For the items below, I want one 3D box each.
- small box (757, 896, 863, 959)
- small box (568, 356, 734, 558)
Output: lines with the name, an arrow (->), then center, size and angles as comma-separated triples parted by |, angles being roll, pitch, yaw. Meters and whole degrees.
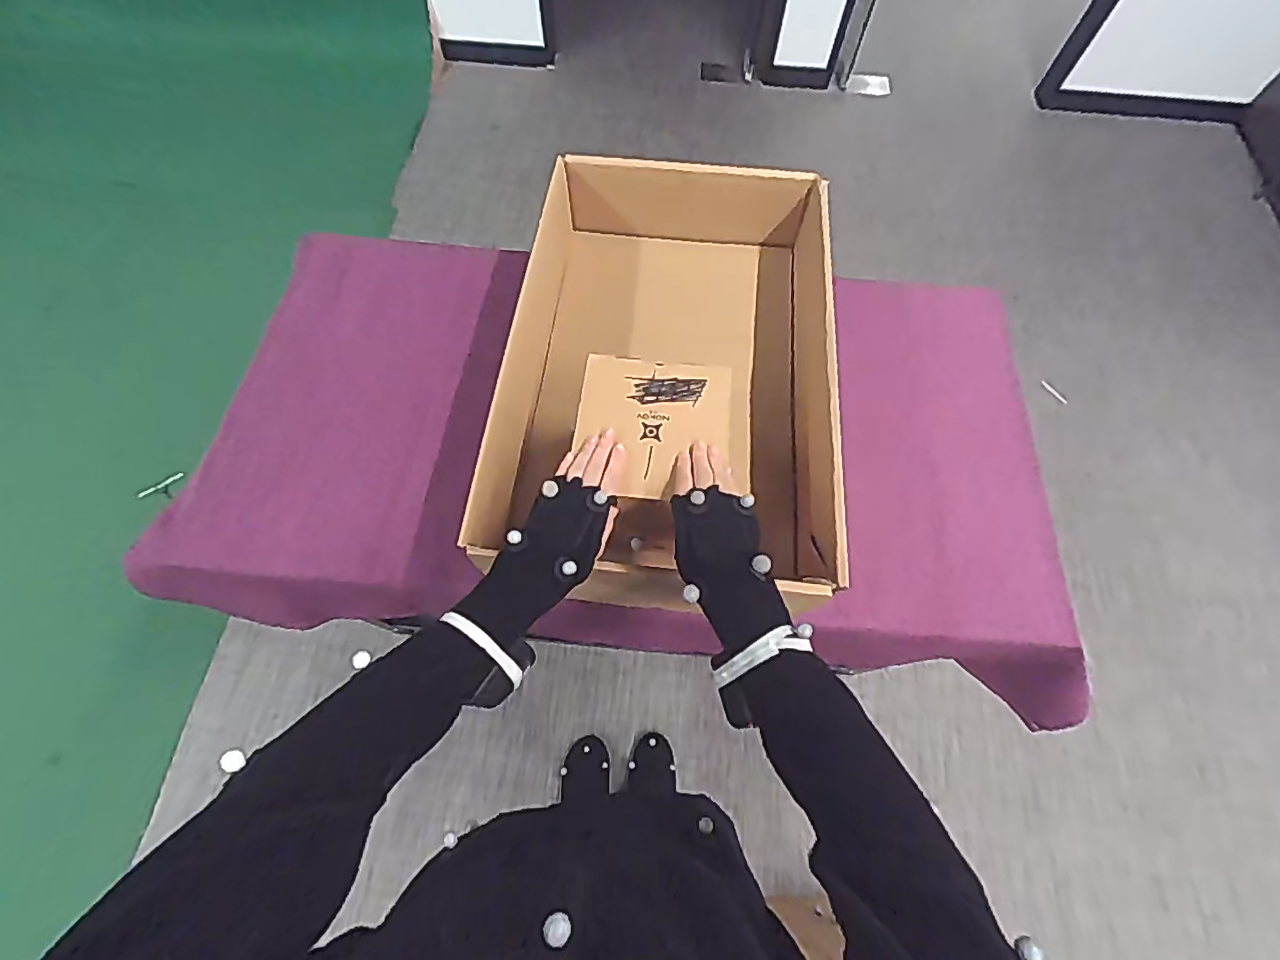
small box -> 0.335, 0.954, 1.078 | 0.179, 0.176, 0.168 | 1, 65, -2
small box -> 0.014, -0.021, 0.650 | 0.168, 0.176, 0.179 | 6, 65, 2
